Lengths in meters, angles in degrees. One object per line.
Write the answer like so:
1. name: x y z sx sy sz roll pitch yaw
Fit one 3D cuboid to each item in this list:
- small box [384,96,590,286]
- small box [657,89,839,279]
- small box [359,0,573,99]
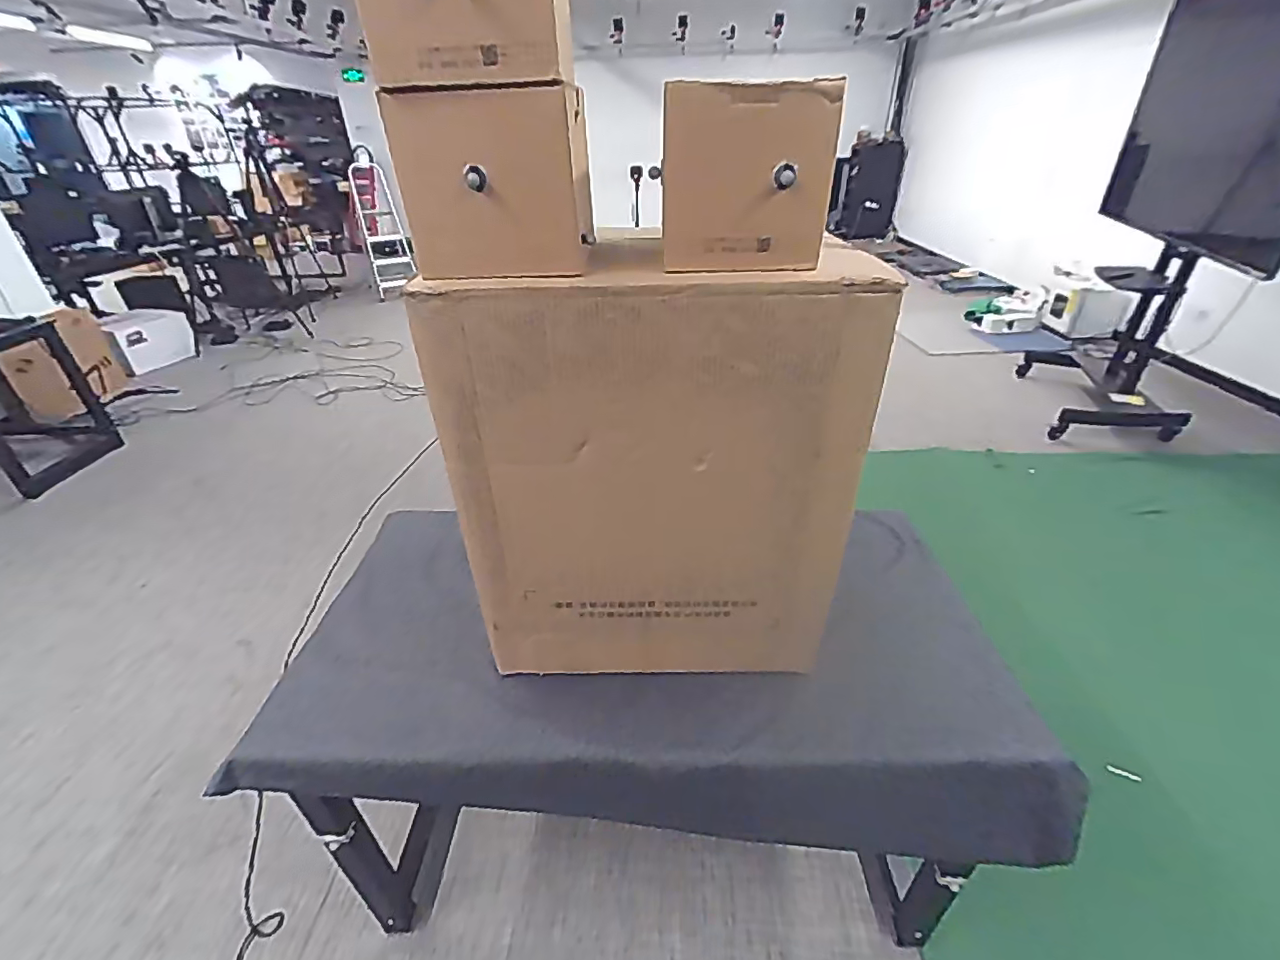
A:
1. small box: -0.147 -0.321 0.598 0.179 0.176 0.168 -1 35 -2
2. small box: 0.104 -0.329 0.602 0.168 0.176 0.179 1 34 1
3. small box: -0.156 -0.455 0.505 0.168 0.176 0.179 -3 35 -1
